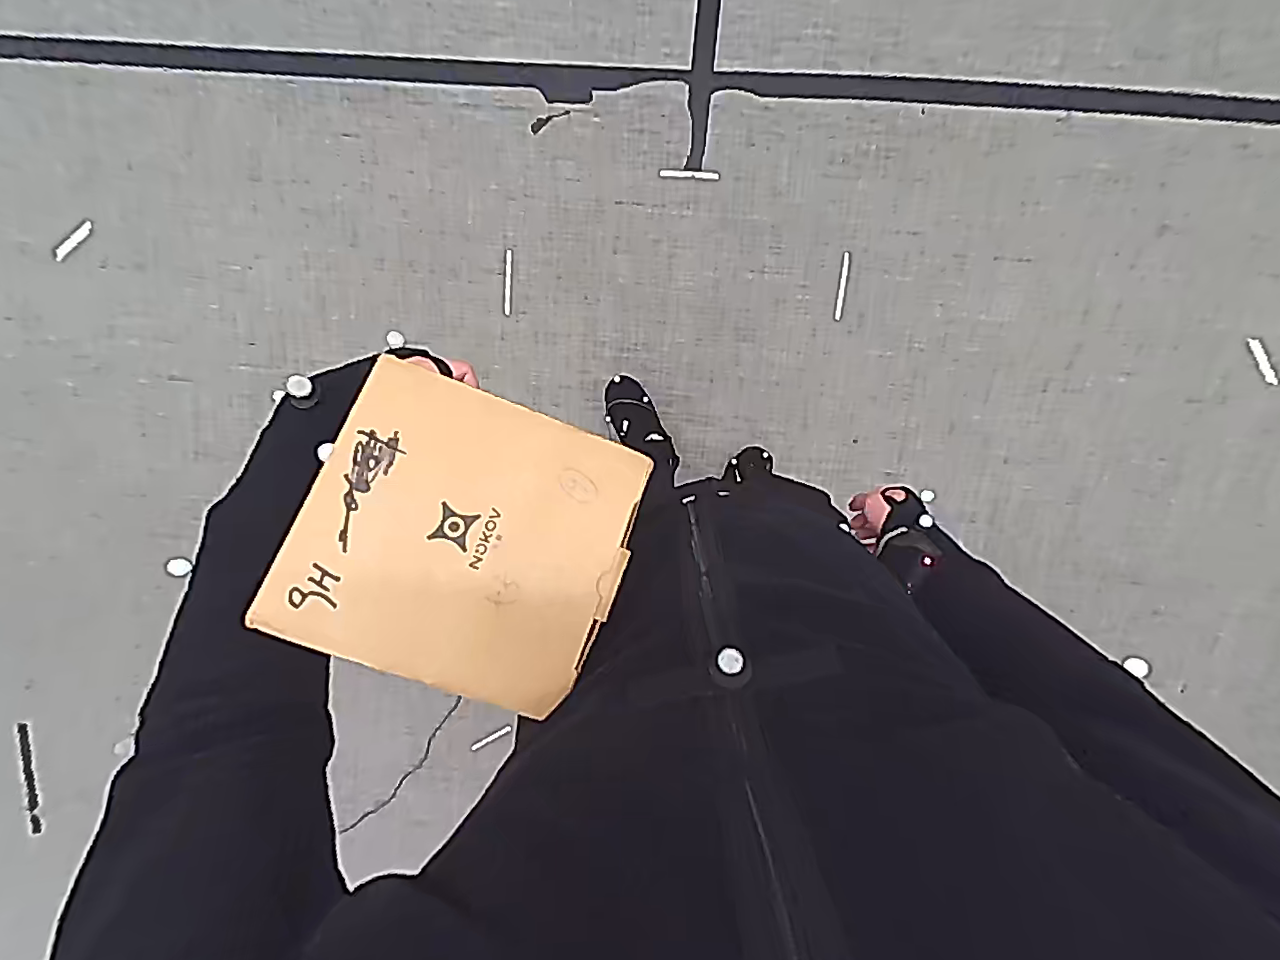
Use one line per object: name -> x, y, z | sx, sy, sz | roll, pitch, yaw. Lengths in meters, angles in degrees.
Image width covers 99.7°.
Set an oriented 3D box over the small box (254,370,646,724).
small box -> -0.117, 0.050, 0.393 | 0.179, 0.176, 0.168 | 21, 76, -8
